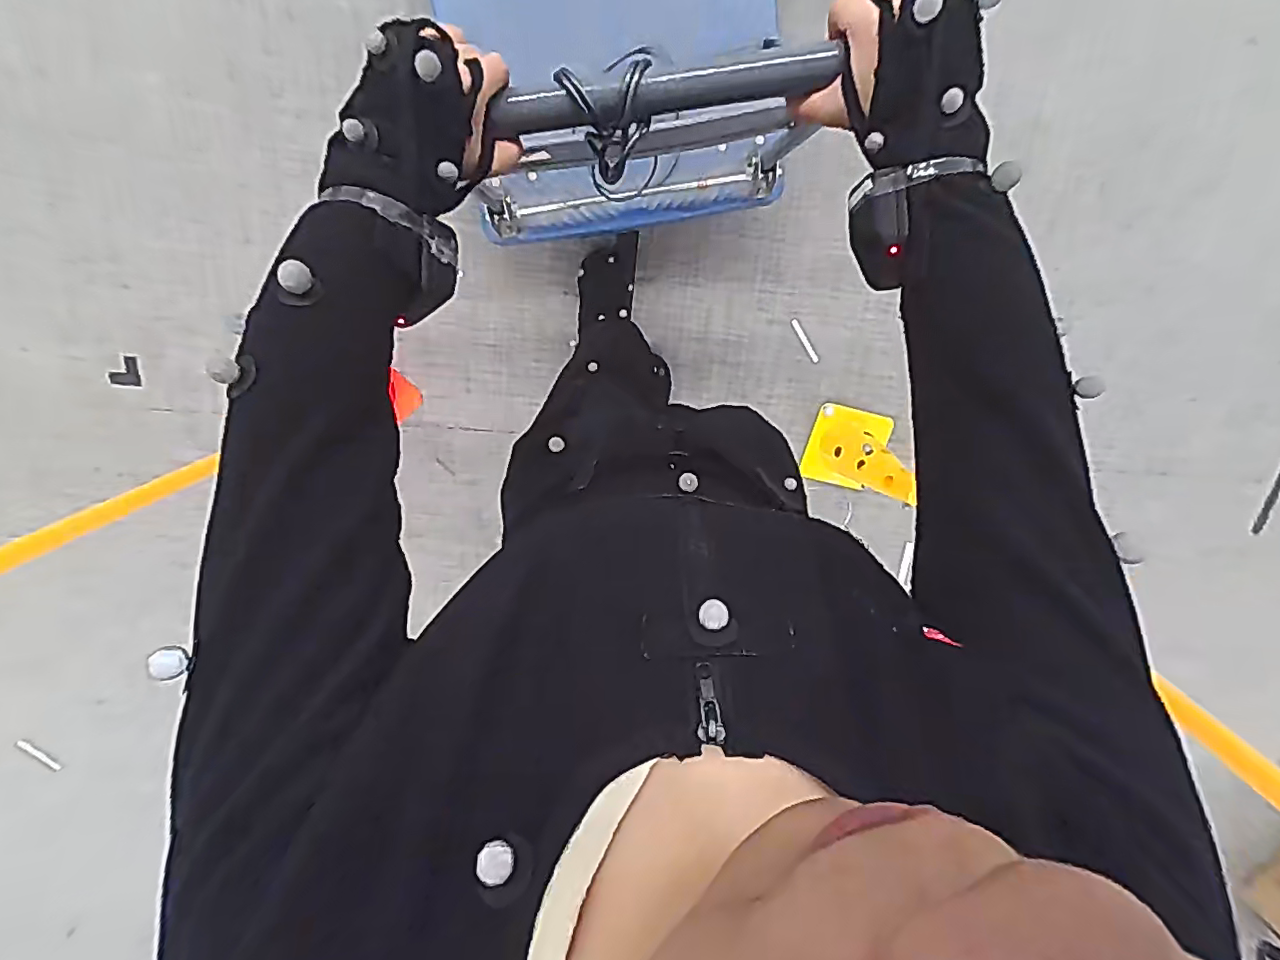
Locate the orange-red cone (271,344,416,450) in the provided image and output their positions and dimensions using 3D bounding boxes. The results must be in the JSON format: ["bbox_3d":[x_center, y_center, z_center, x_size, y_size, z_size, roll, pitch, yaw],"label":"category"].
[{"bbox_3d":[-0.643,-0.135,1.110,0.199,0.360,0.198,-39,108,9],"label":"orange-red cone"}]
